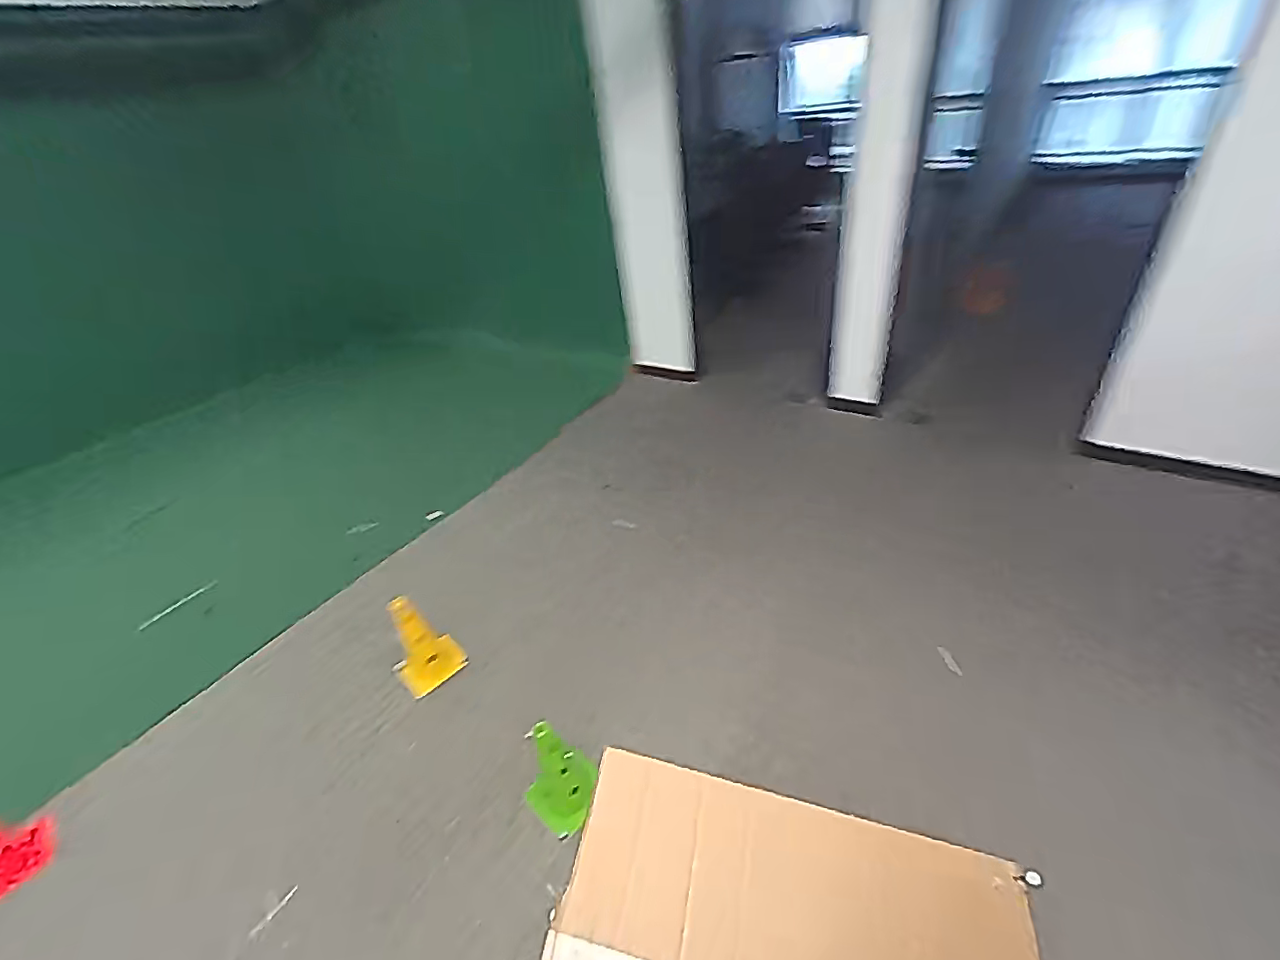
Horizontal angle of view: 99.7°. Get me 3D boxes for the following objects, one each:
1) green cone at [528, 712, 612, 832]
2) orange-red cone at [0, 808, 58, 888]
[{"bbox_3d":[-0.234,0.777,1.529,0.202,0.368,0.200,23,46,38],"label":"green cone"},{"bbox_3d":[-1.941,1.009,1.560,0.198,0.360,0.199,24,49,38],"label":"orange-red cone"}]
